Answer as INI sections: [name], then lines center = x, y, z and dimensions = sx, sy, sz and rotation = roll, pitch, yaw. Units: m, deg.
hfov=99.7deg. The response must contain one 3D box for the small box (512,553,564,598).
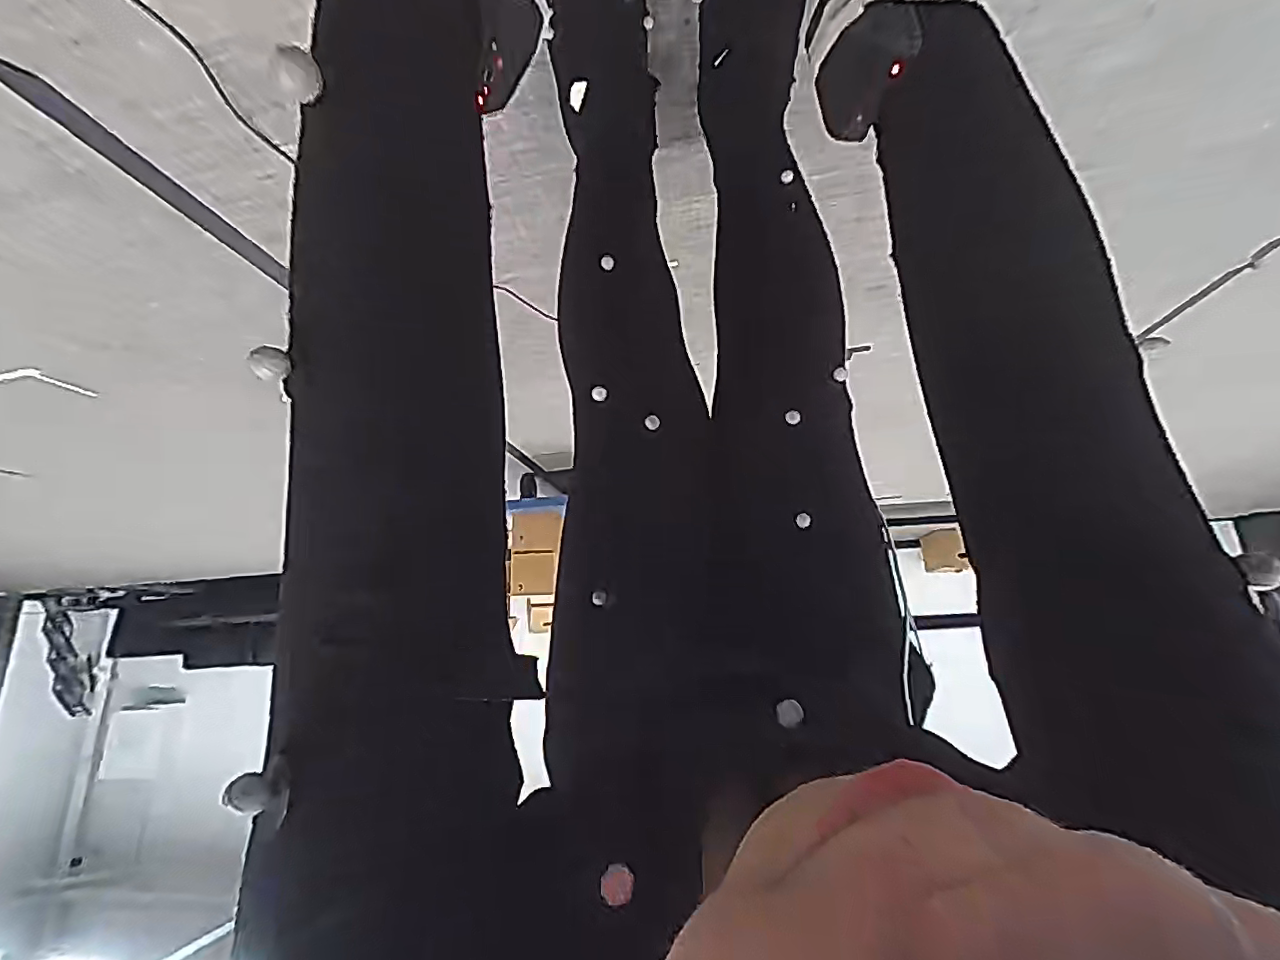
[small box]
center = -0.415, 0.390, 2.210
dimensions = 0.179, 0.176, 0.168
rotation = -3, 166, 4
